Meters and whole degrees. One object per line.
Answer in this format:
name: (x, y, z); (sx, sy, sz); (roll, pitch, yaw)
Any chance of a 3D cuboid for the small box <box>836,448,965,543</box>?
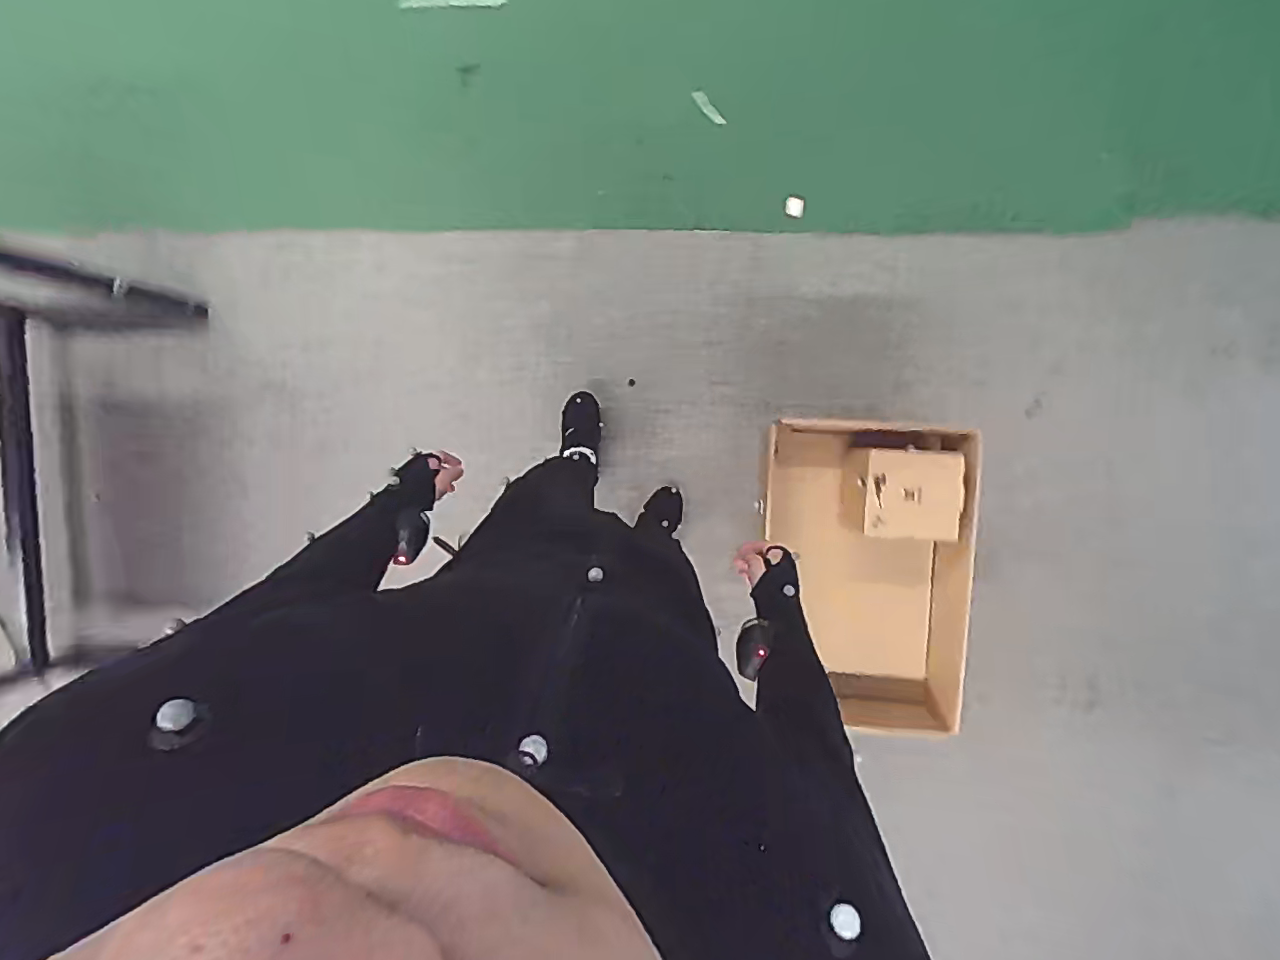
small box: (0.517, 0.024, 1.093); (0.179, 0.176, 0.168); (5, 94, 3)
